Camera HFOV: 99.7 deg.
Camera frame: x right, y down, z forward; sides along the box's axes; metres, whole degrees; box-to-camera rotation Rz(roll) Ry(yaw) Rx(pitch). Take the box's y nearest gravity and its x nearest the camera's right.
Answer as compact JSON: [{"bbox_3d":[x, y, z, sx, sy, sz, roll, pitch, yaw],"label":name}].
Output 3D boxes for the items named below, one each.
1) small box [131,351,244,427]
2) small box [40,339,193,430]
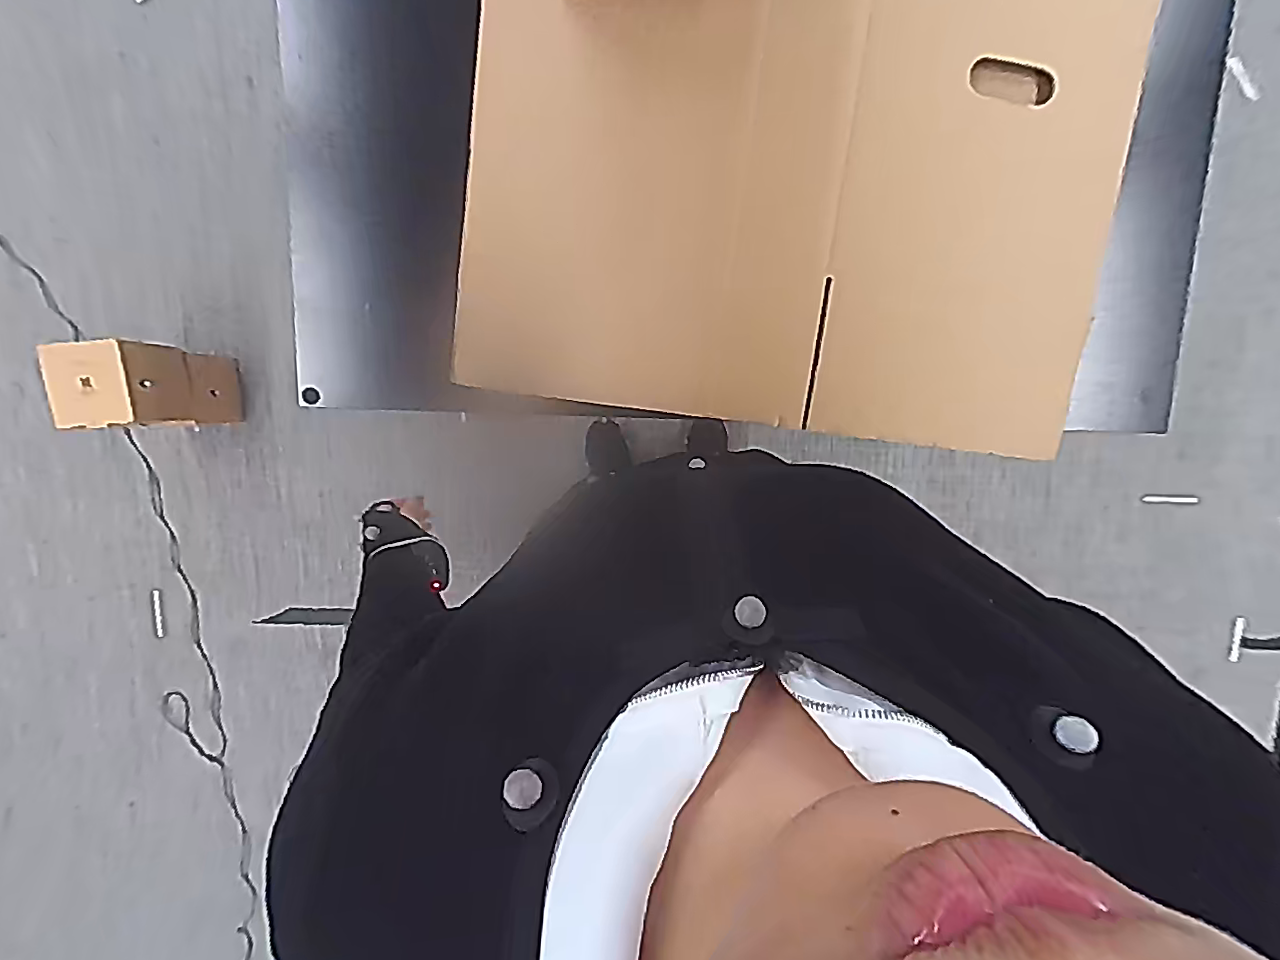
[{"bbox_3d":[-1.144,-0.226,1.359,0.168,0.176,0.179,-2,99,-1],"label":"small box"},{"bbox_3d":[-1.142,-0.209,1.198,0.168,0.176,0.179,-6,97,-1],"label":"small box"}]
